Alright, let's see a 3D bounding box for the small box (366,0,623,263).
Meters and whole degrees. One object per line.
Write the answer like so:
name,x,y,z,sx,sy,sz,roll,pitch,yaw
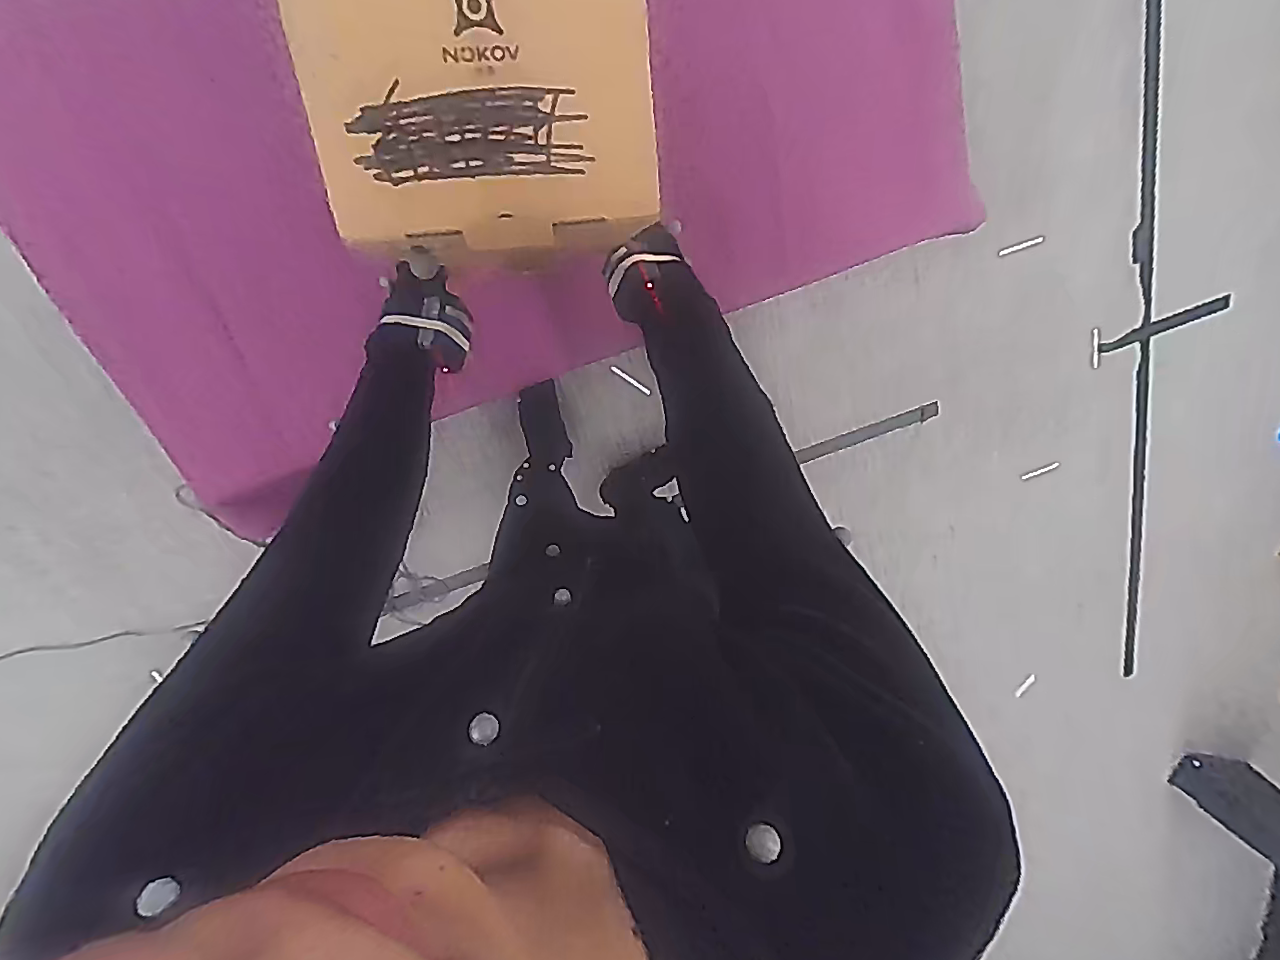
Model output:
small box,-0.115,-0.295,0.474,0.168,0.176,0.179,-9,111,-8
